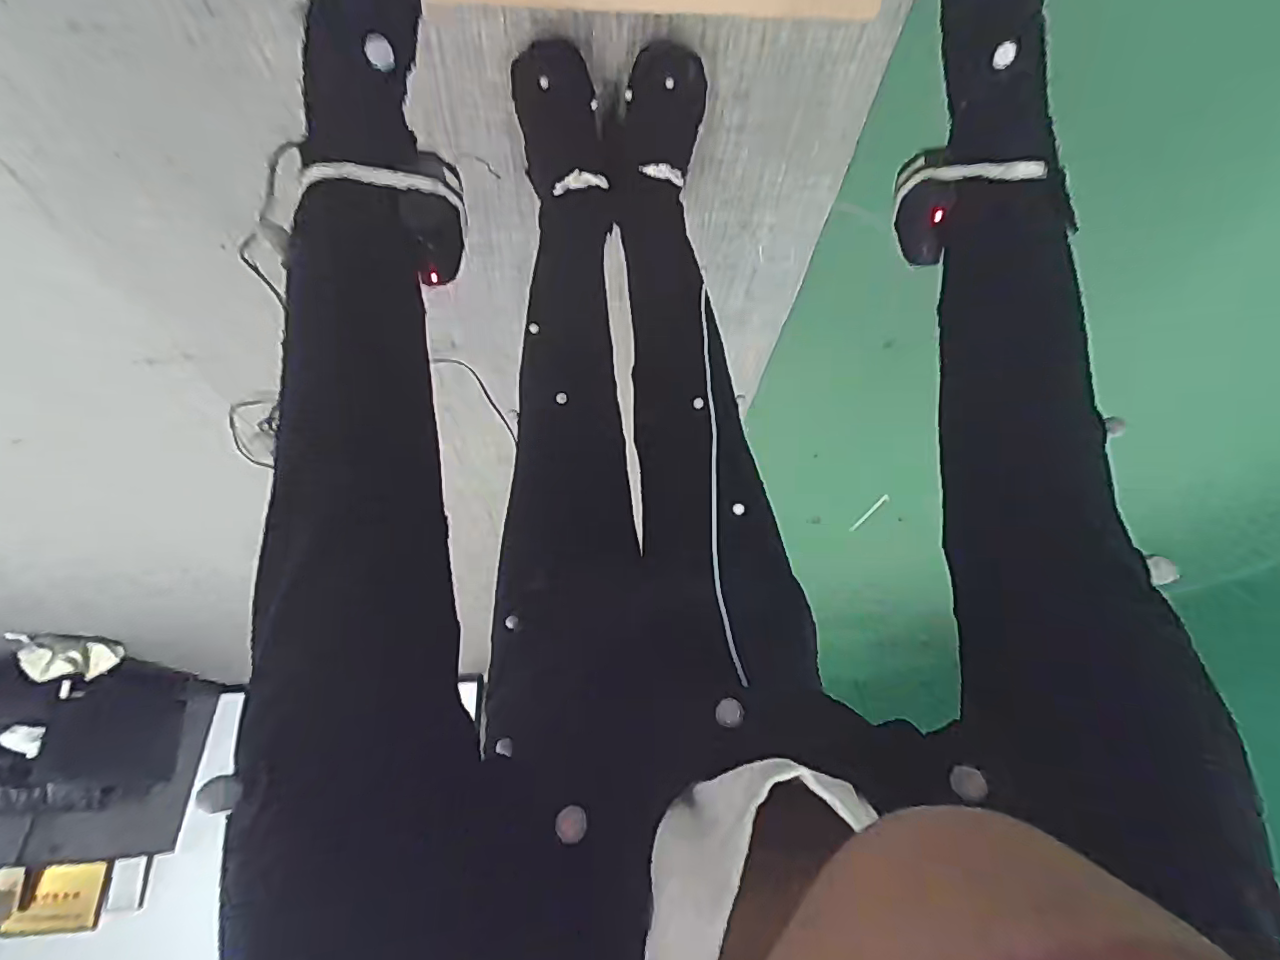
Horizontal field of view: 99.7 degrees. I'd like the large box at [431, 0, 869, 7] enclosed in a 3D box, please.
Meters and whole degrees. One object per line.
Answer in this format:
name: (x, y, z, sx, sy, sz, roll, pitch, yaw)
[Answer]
large box: (0.002, -0.618, 0.411, 0.408, 0.320, 0.320, -3, 151, -6)
